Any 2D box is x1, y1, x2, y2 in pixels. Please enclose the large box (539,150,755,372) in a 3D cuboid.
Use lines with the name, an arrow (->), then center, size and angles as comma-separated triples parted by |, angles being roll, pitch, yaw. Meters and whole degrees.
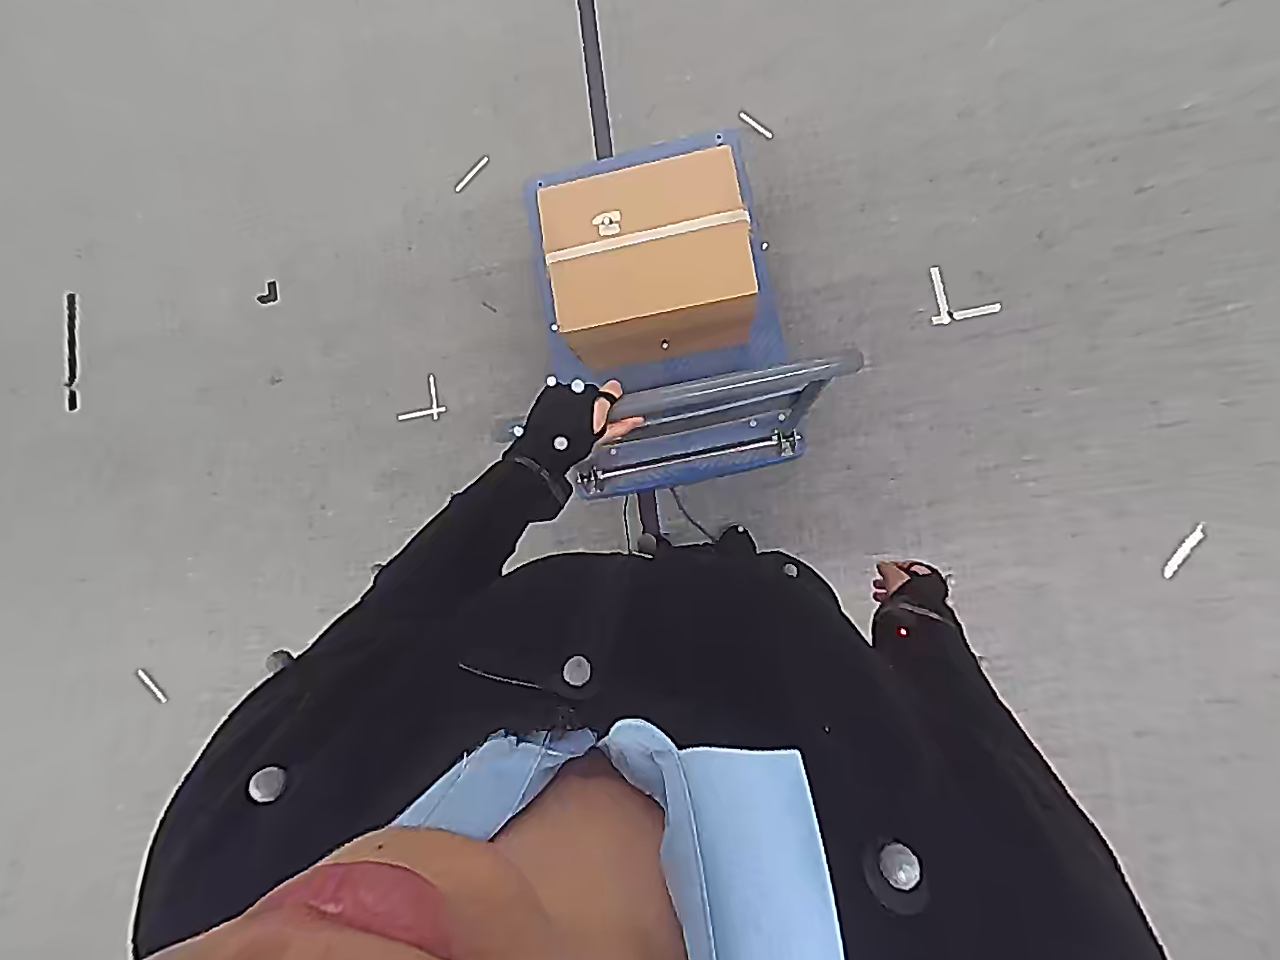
large box -> 0.028, -0.469, 1.240 | 0.408, 0.320, 0.320 | -10, 83, 8
